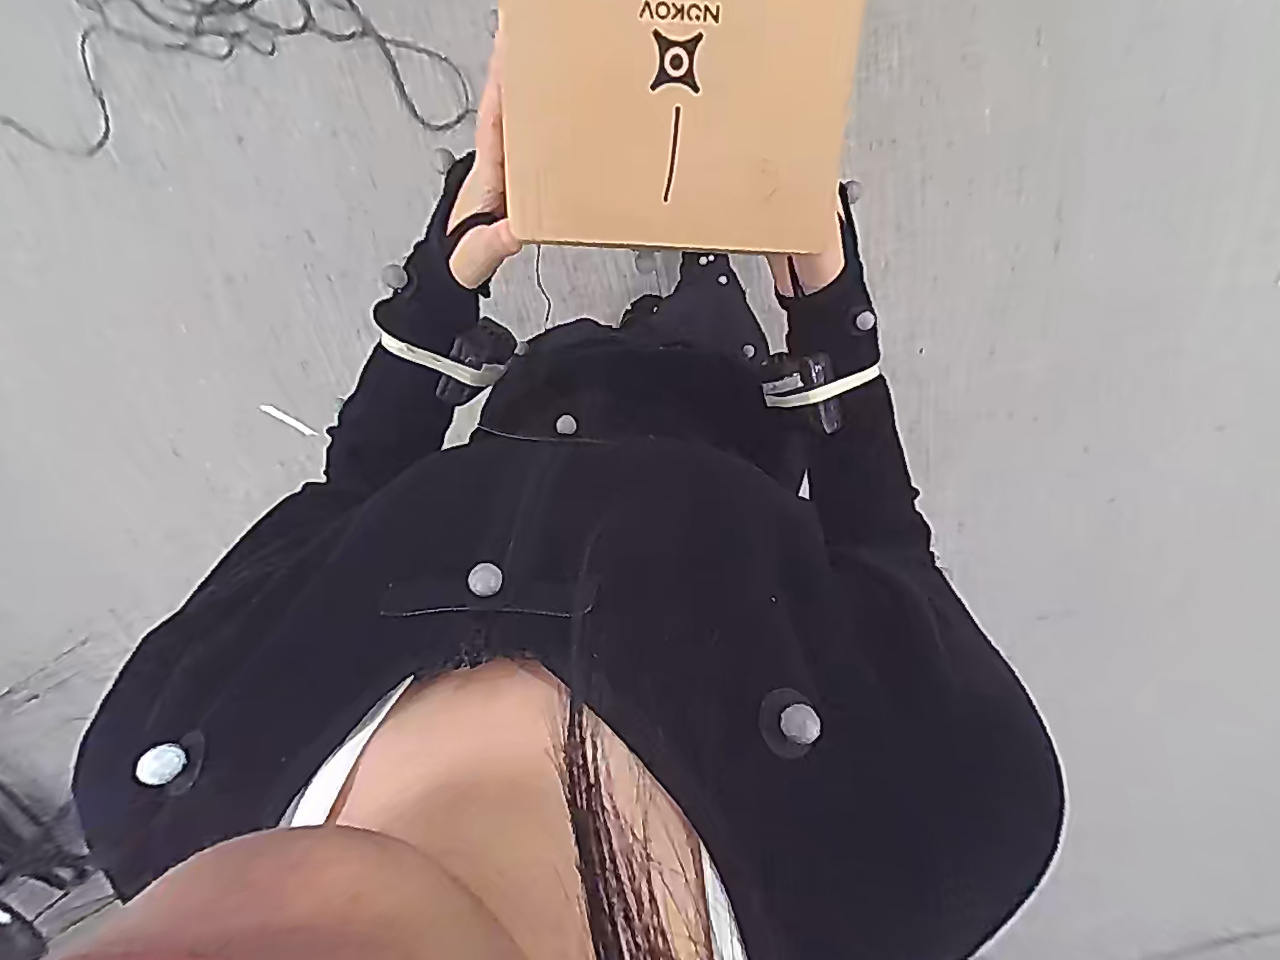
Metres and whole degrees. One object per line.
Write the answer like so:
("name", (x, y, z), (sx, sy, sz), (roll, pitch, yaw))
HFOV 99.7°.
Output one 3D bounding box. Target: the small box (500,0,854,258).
("small box", (0.013, -0.232, 0.327), (0.168, 0.176, 0.179), (1, 113, -3))
